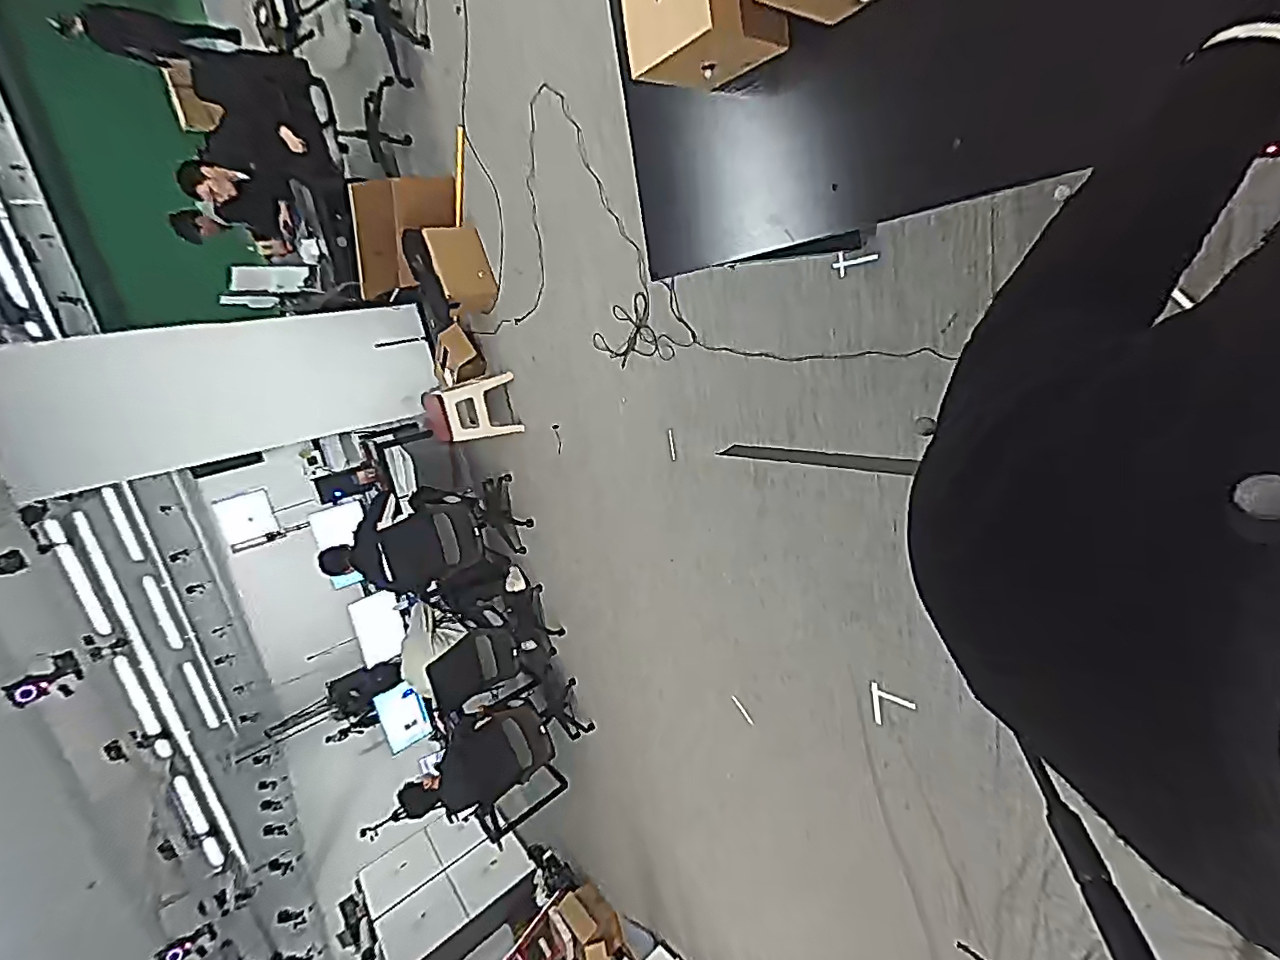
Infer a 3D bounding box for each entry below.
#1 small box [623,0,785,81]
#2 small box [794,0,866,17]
[{"bbox_3d":[0.091,-0.698,0.770,0.168,0.176,0.179,14,118,49],"label":"small box"},{"bbox_3d":[0.231,-0.666,0.598,0.168,0.176,0.179,9,116,51],"label":"small box"}]
